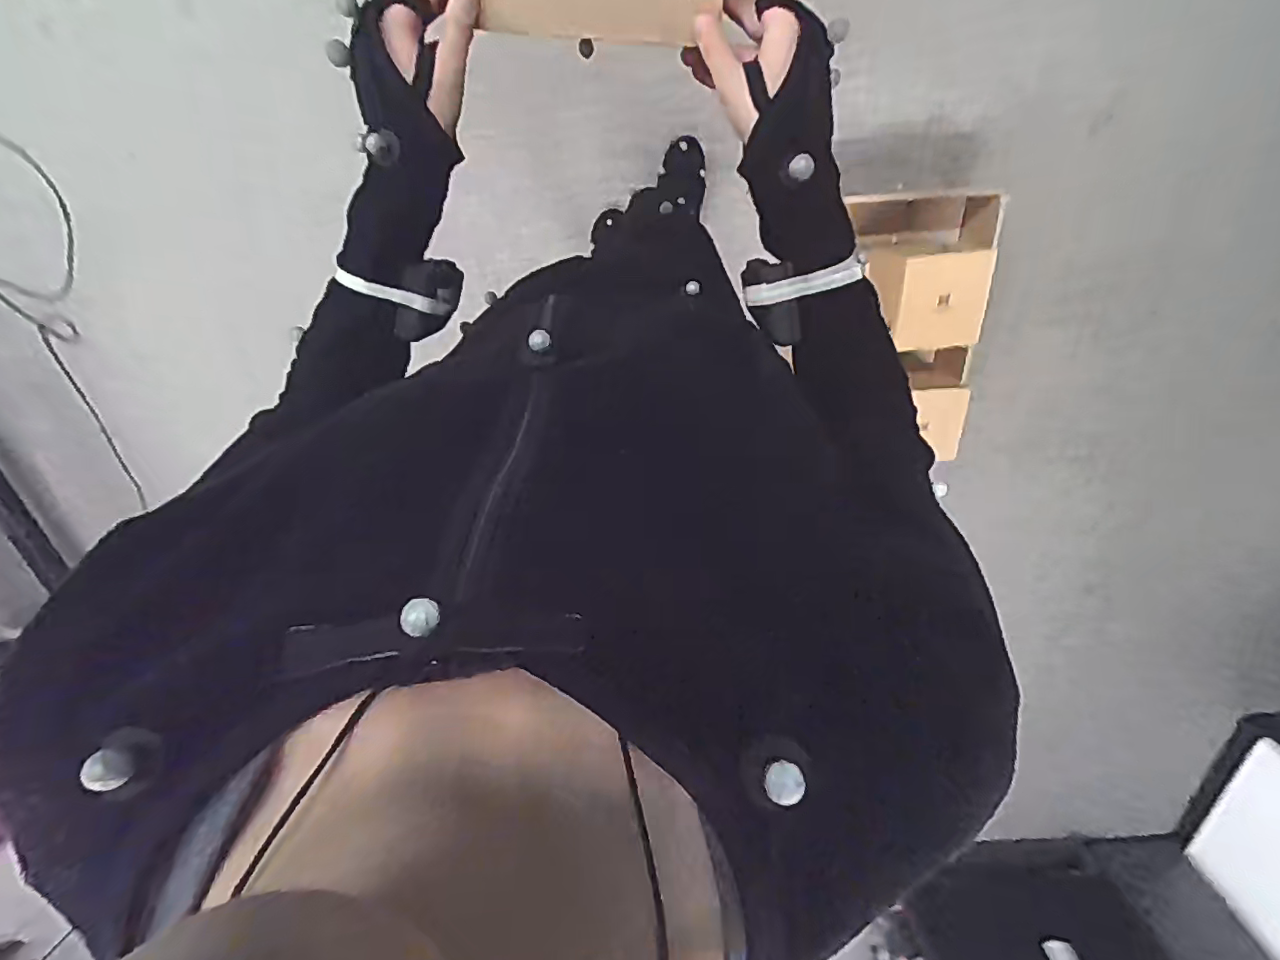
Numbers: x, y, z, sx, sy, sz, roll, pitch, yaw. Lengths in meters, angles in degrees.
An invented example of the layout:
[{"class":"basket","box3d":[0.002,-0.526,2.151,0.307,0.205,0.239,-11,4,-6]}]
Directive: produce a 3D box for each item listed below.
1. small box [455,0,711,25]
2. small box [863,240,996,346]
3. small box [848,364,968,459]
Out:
[{"class":"small box","box3d":[-0.035,-0.424,0.362,0.179,0.176,0.168,3,132,-2]},{"class":"small box","box3d":[0.566,-0.381,1.084,0.168,0.176,0.179,-4,119,2]},{"class":"small box","box3d":[0.582,-0.156,1.204,0.179,0.176,0.168,-2,118,1]}]
